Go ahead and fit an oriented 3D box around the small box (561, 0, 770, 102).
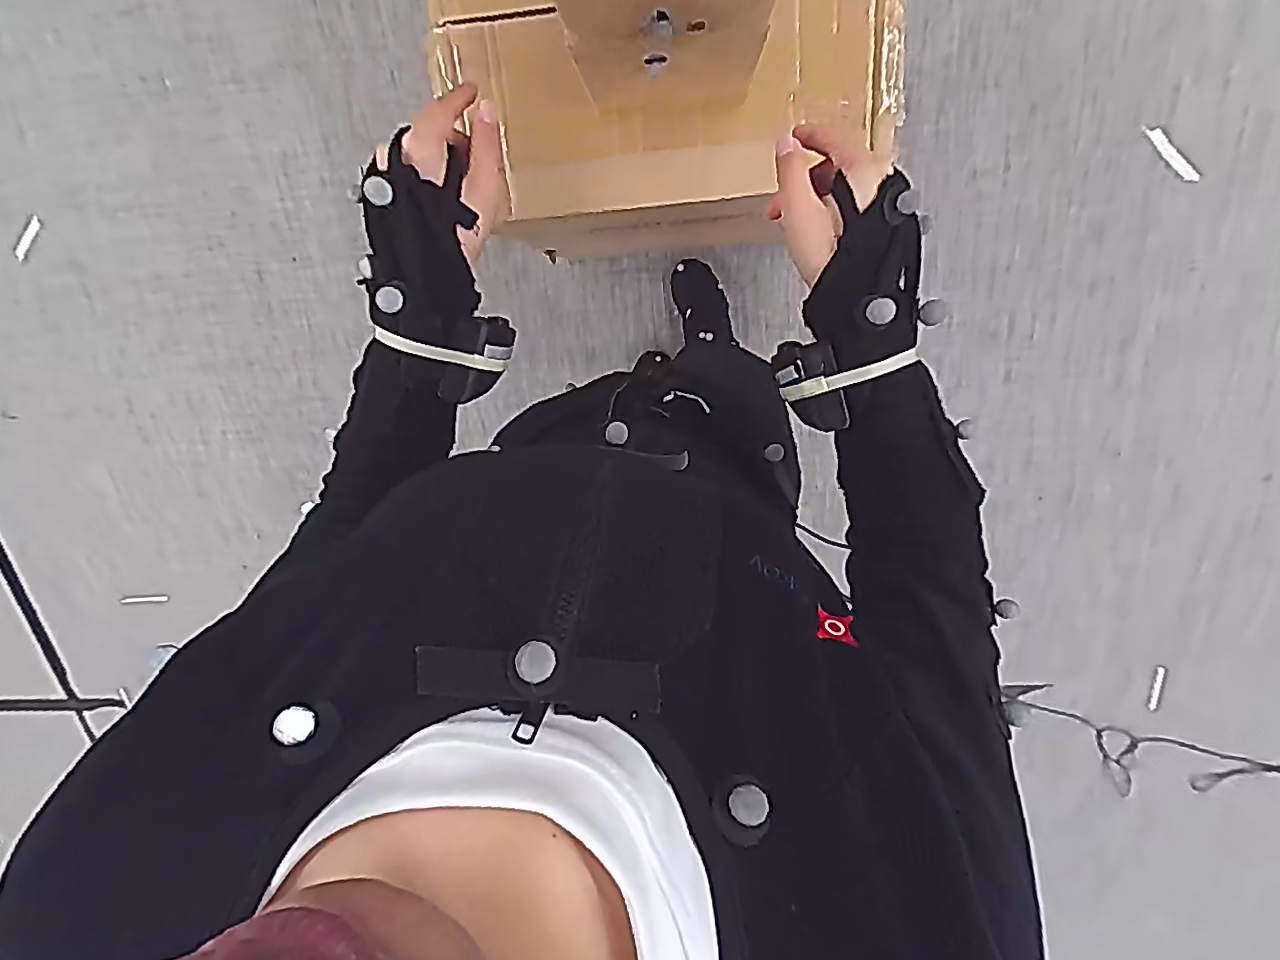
[{"bbox_3d":[0.024,-0.479,0.506,0.179,0.176,0.168,-2,108,5],"label":"small box"}]
